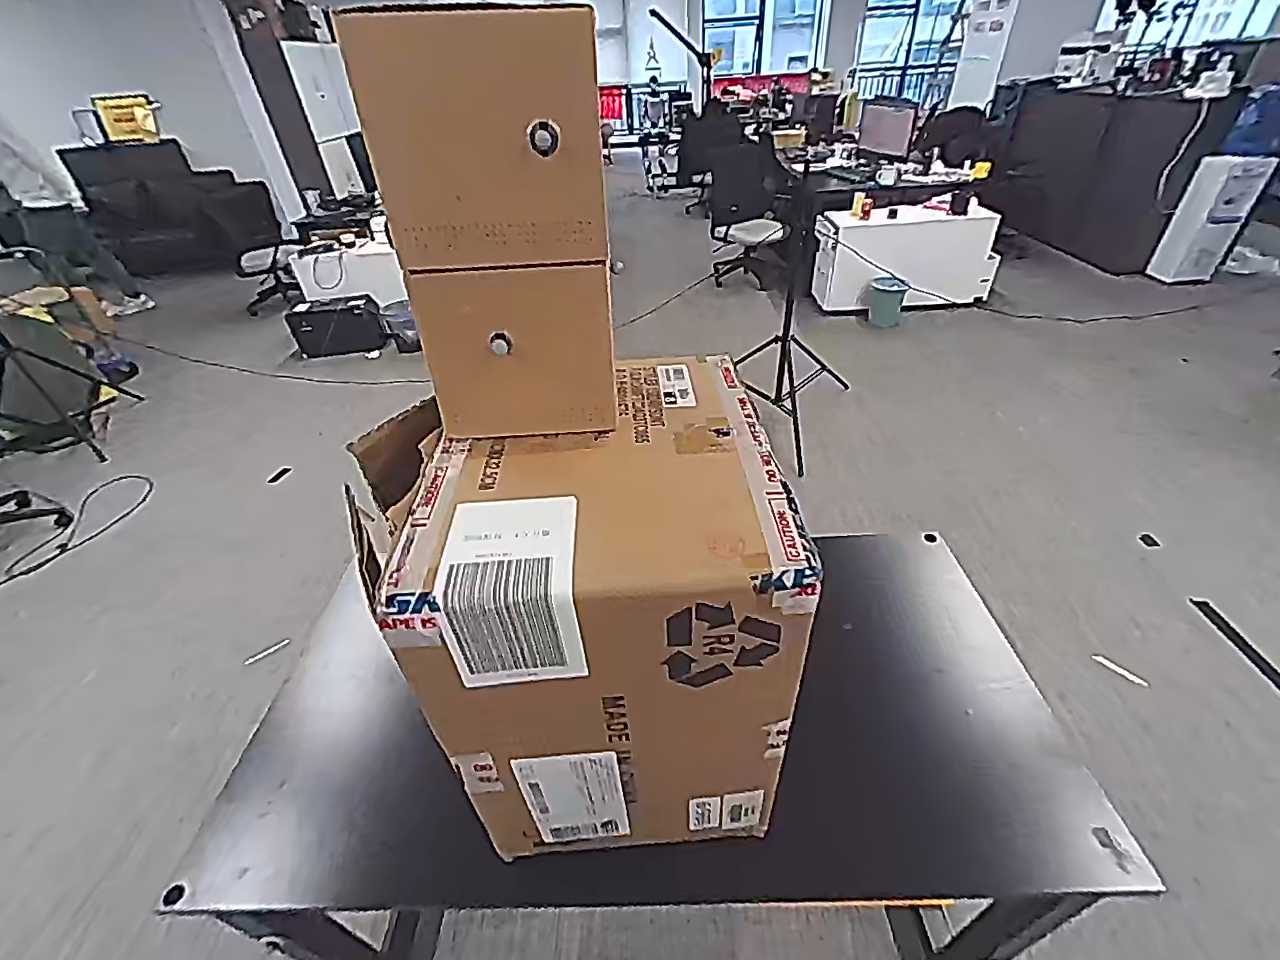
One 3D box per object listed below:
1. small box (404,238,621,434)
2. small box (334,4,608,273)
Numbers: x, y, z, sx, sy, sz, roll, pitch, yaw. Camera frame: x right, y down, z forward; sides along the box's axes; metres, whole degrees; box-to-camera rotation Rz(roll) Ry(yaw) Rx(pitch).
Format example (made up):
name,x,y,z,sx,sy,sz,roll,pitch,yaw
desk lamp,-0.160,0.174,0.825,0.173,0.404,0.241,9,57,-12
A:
name,x,y,z,sx,sy,sz,roll,pitch,yaw
small box,-0.115,-0.158,0.567,0.179,0.176,0.168,-4,36,-2
small box,-0.120,-0.288,0.469,0.179,0.176,0.168,-6,35,-3
